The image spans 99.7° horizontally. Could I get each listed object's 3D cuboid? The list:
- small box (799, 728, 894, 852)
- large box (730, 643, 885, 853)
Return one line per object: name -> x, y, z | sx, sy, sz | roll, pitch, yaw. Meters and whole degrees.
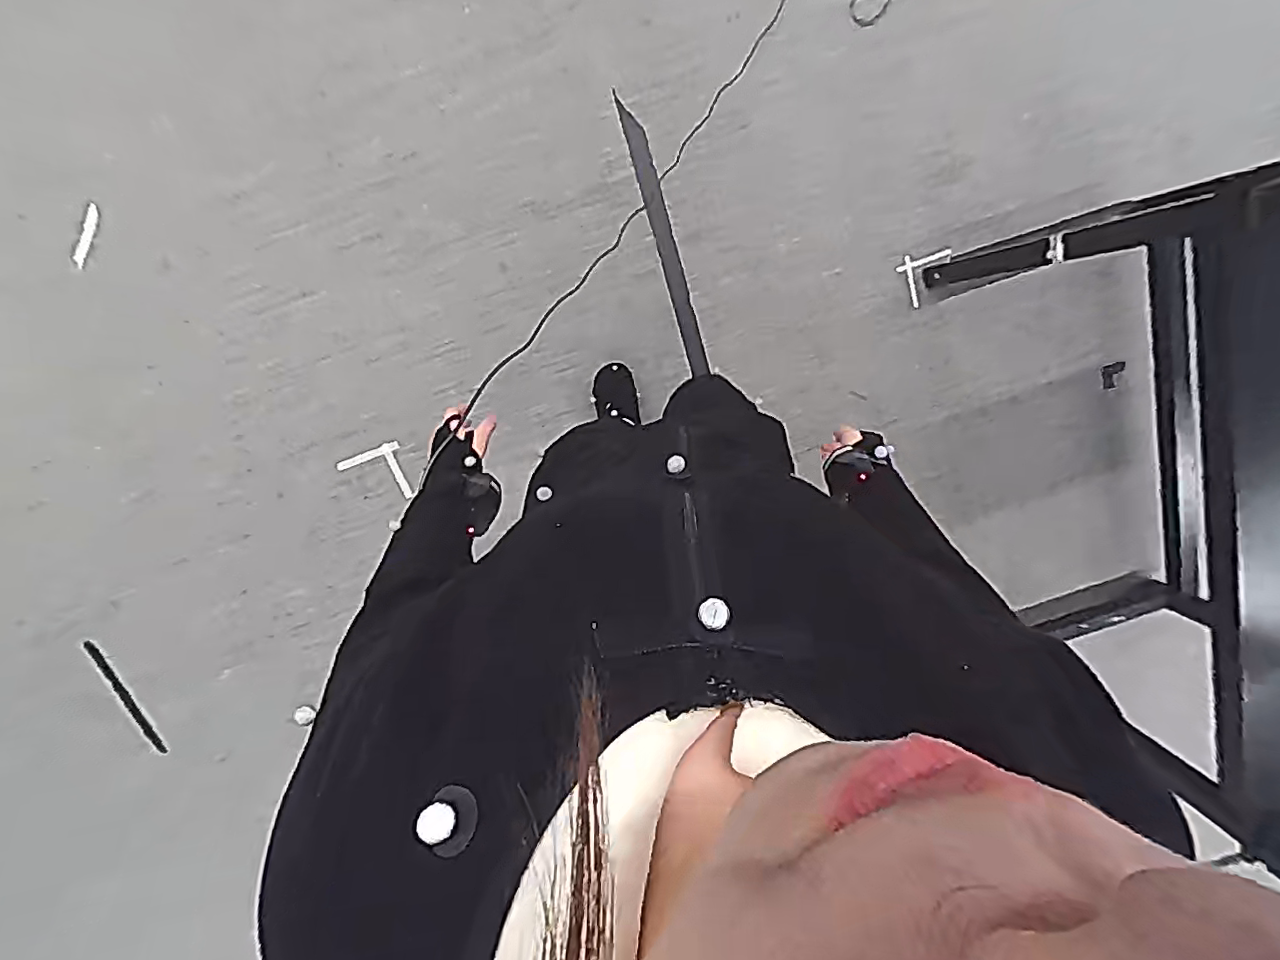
small box -> 0.508, 0.747, 1.318 | 0.168, 0.176, 0.179 | -18, 104, -1
large box -> 0.487, 0.759, 1.571 | 0.320, 0.320, 0.408 | -17, 105, 1
